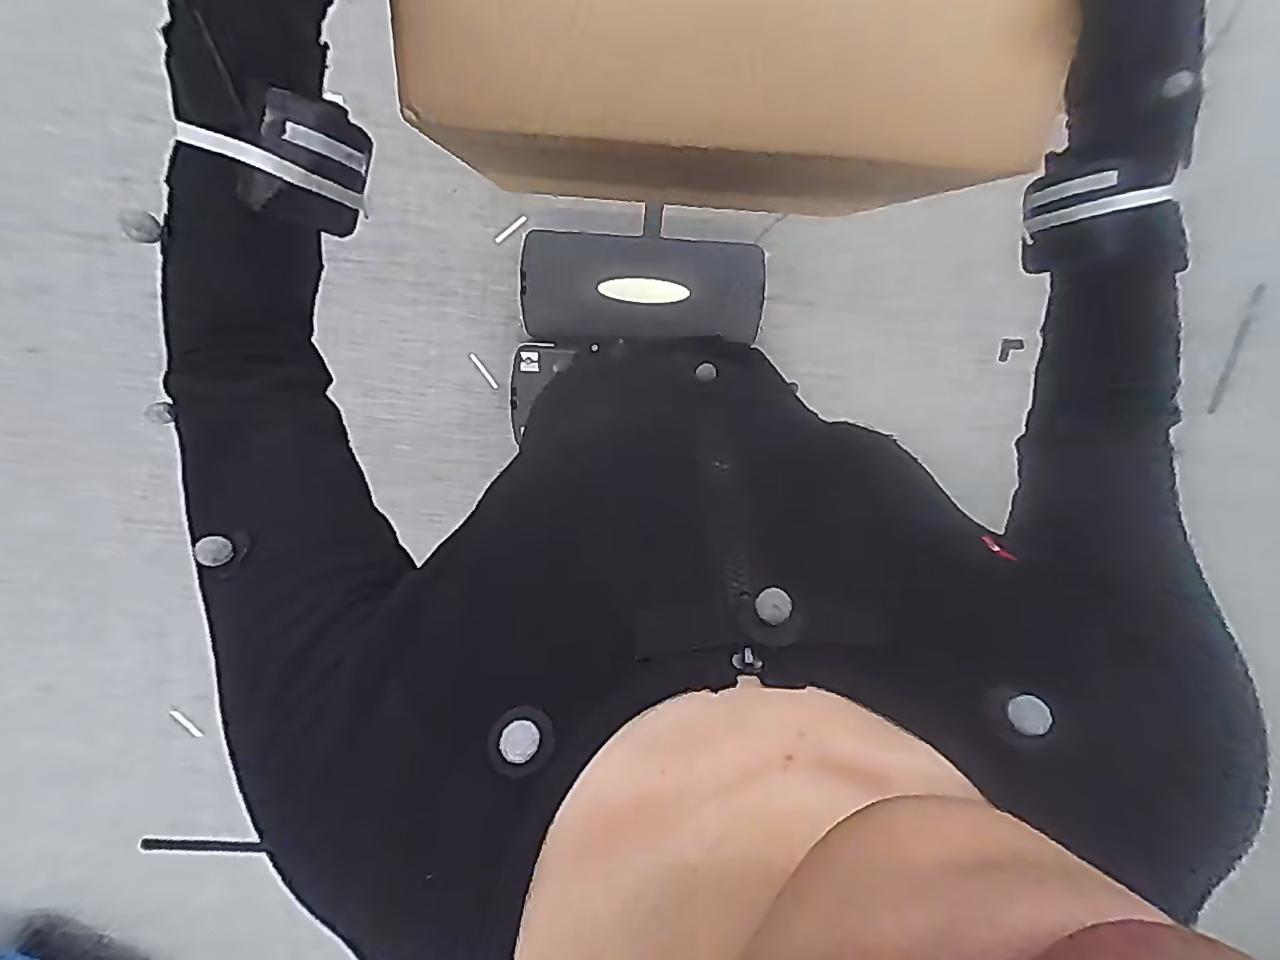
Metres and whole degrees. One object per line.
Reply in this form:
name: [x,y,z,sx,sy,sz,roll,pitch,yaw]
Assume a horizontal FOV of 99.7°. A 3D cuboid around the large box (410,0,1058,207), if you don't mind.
large box: [0.054,-0.417,0.437,0.408,0.320,0.320,1,111,-5]
